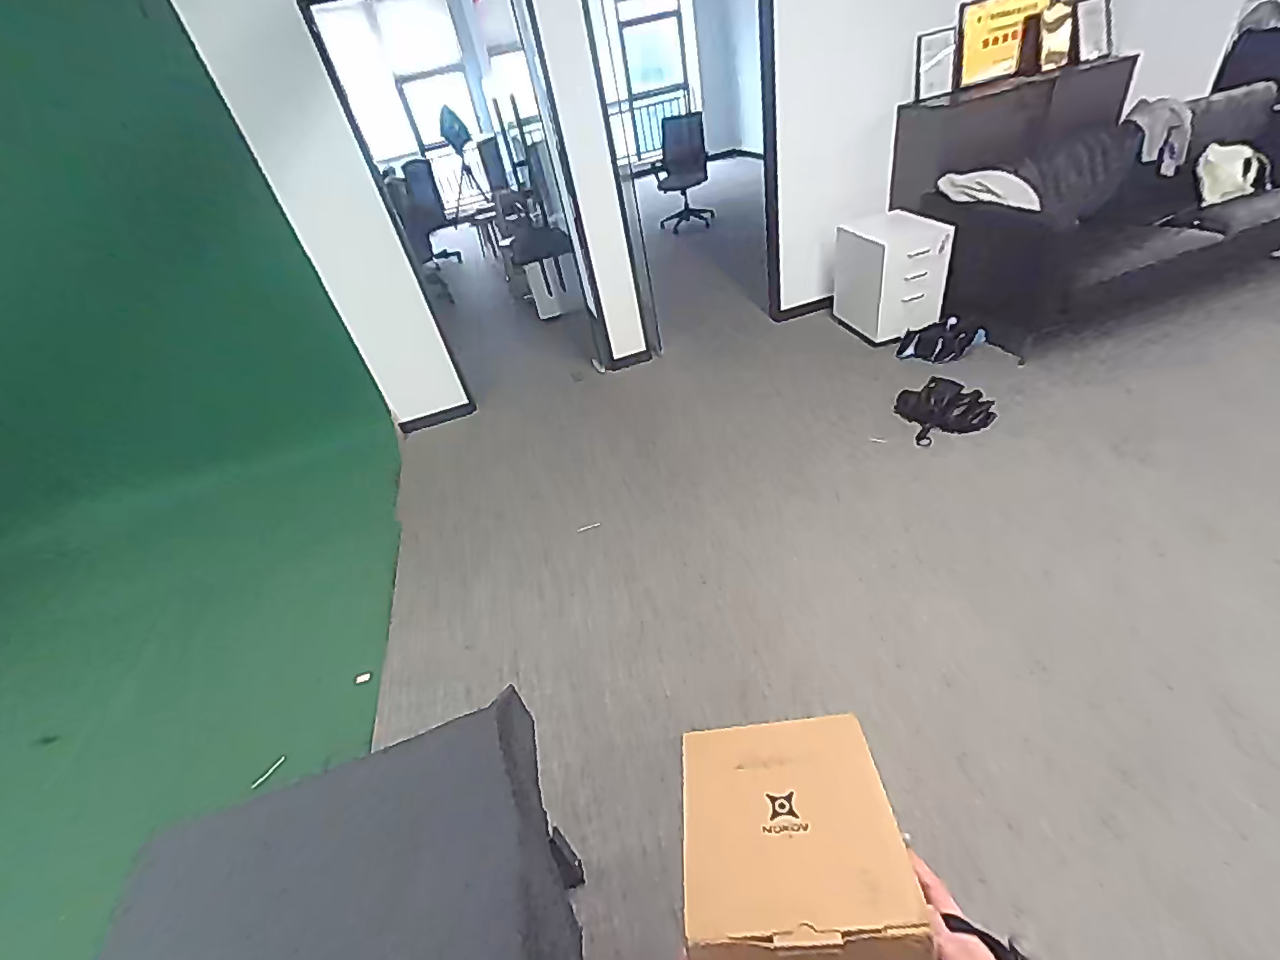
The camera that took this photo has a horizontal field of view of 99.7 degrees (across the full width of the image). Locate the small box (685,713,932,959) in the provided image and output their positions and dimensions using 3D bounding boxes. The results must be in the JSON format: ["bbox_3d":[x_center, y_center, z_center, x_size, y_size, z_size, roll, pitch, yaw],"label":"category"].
[{"bbox_3d":[0.134,0.337,0.464,0.168,0.176,0.179,-10,21,8],"label":"small box"}]
